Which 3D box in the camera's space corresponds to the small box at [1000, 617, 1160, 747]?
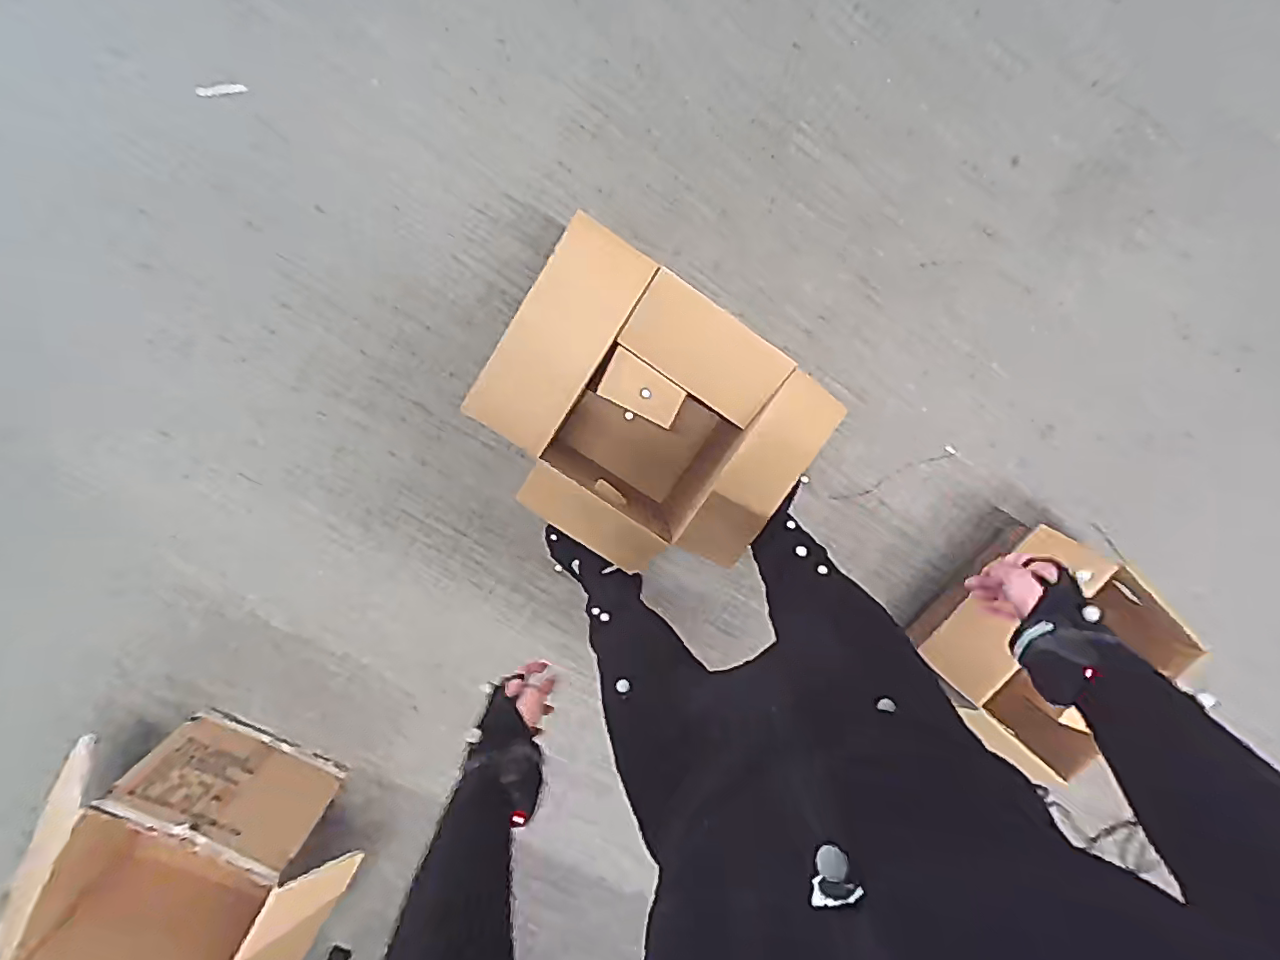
[{"bbox_3d":[0.926,0.422,1.159,0.168,0.176,0.179,25,98,-7],"label":"small box"}]
